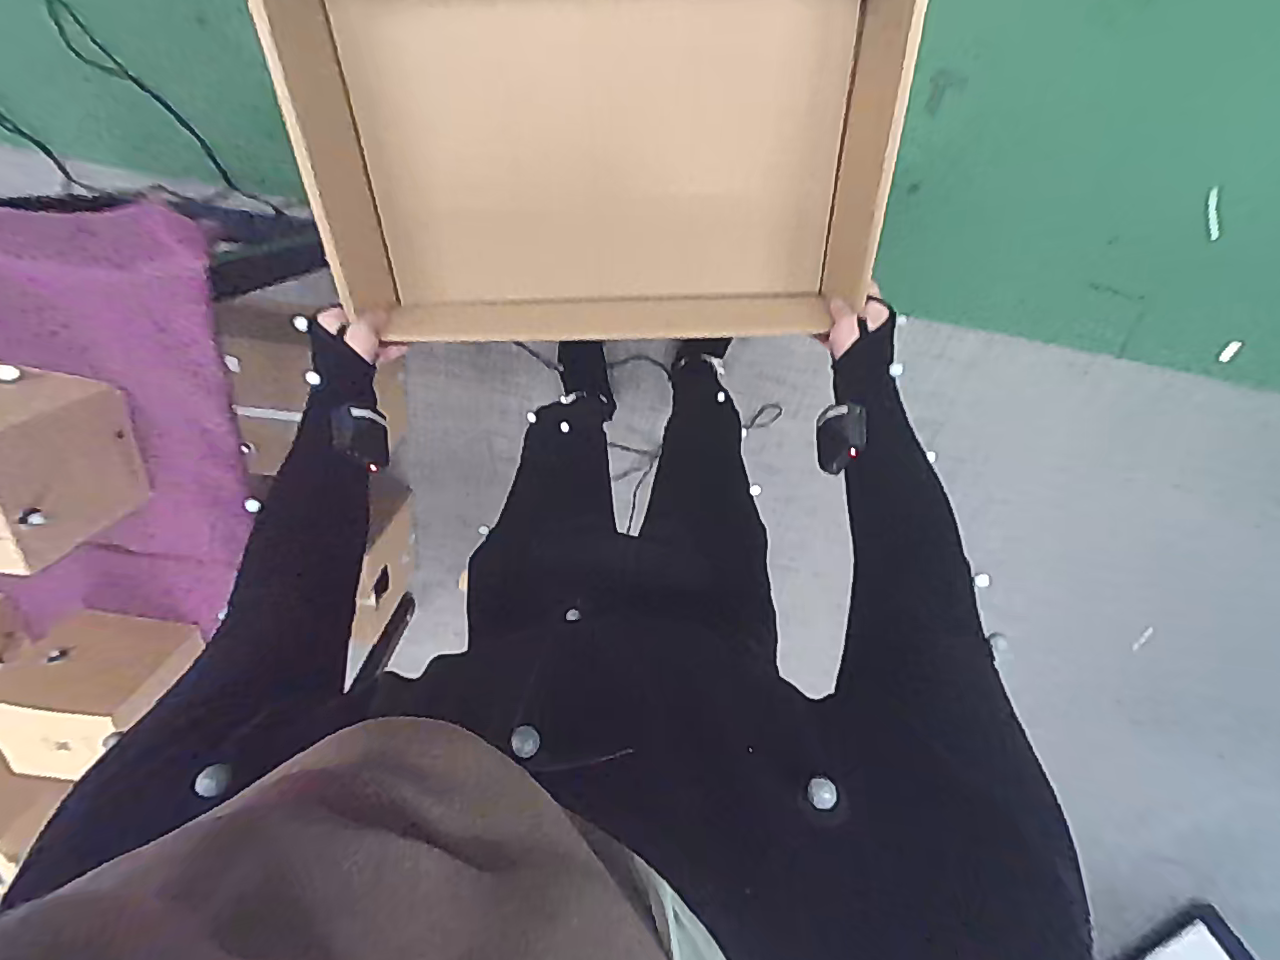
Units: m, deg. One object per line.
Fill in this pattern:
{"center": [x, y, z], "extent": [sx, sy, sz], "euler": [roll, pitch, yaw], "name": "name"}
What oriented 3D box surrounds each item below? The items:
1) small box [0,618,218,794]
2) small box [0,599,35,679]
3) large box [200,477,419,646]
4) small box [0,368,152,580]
{"center": [-0.787, 0.329, 0.806], "extent": [0.179, 0.176, 0.168], "euler": [10, 119, -5], "name": "small box"}
{"center": [-1.055, 0.274, 0.779], "extent": [0.179, 0.176, 0.168], "euler": [10, 118, -6], "name": "small box"}
{"center": [-0.875, 0.218, 1.501], "extent": [0.408, 0.320, 0.320], "euler": [9, 118, -3], "name": "large box"}
{"center": [-0.724, -0.016, 0.612], "extent": [0.179, 0.176, 0.168], "euler": [11, 120, -3], "name": "small box"}
